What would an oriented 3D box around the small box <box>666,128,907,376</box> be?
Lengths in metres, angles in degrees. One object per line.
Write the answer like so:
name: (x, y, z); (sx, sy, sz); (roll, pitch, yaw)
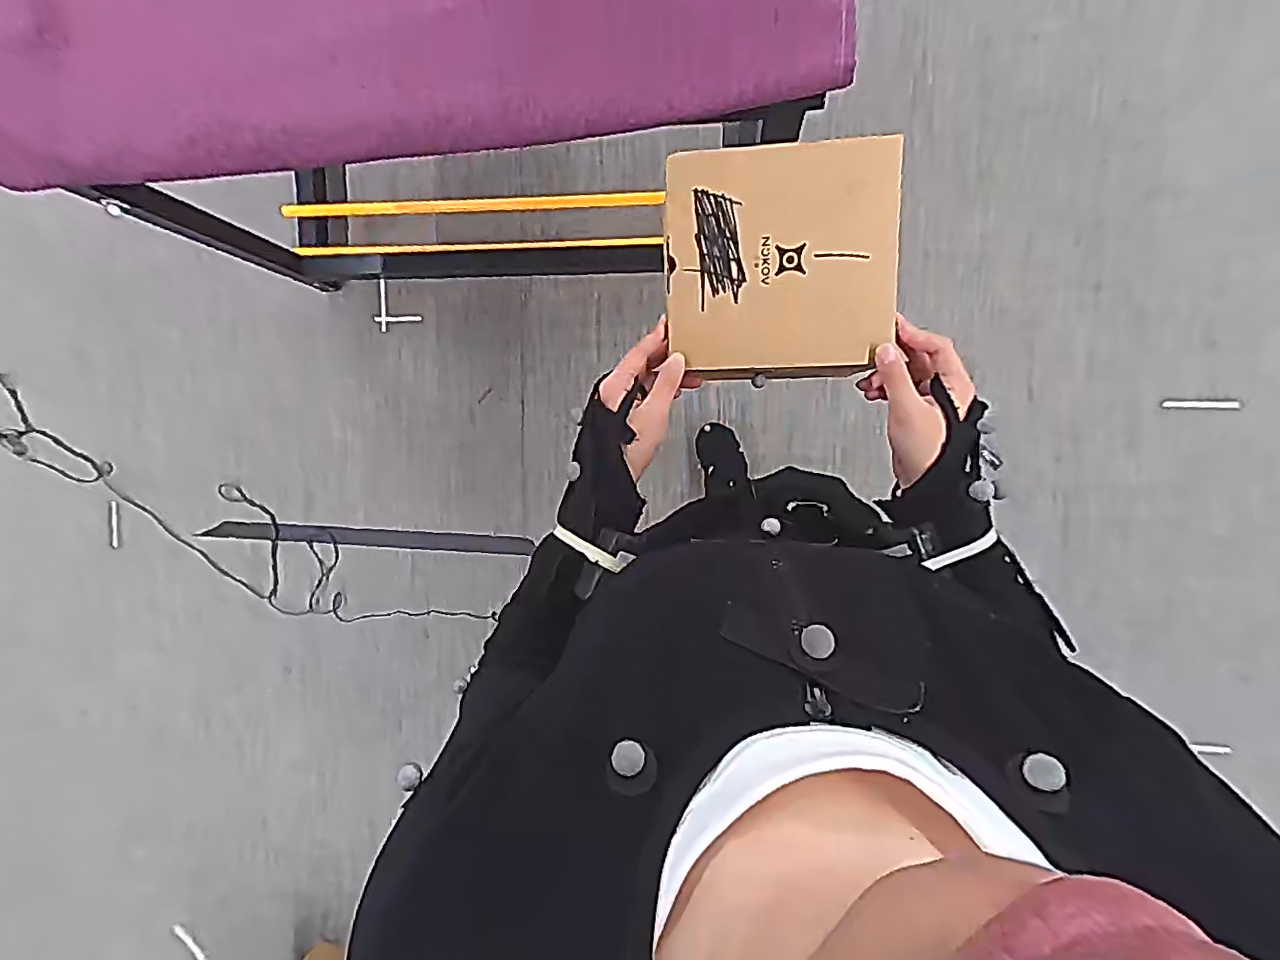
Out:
small box: (0.120, -0.183, 0.489); (0.179, 0.176, 0.168); (0, 98, 9)
